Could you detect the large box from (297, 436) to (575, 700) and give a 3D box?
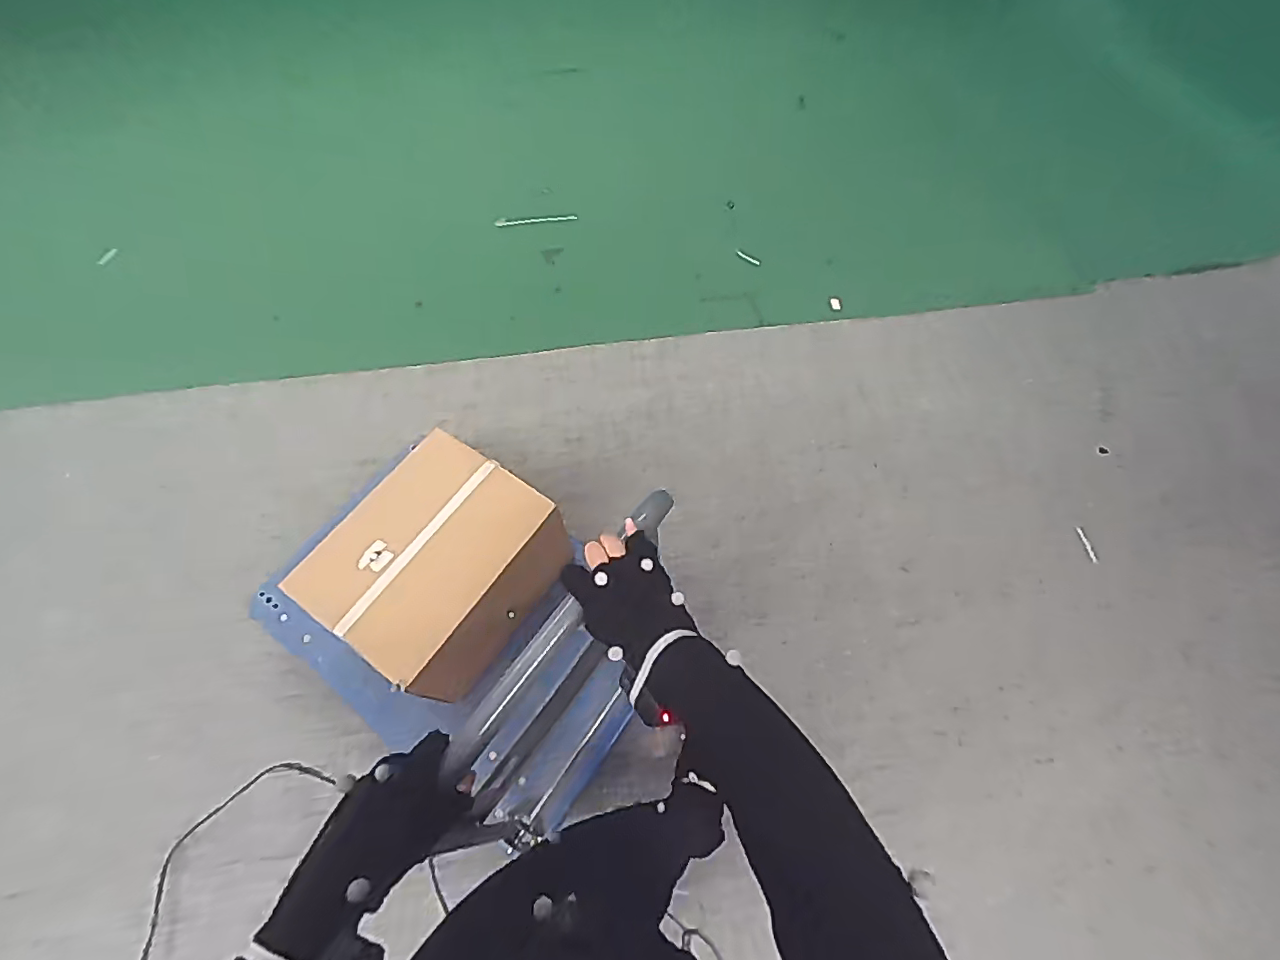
[{"bbox_3d":[-0.386,0.193,1.142,0.320,0.320,0.408,31,68,16],"label":"large box"}]
